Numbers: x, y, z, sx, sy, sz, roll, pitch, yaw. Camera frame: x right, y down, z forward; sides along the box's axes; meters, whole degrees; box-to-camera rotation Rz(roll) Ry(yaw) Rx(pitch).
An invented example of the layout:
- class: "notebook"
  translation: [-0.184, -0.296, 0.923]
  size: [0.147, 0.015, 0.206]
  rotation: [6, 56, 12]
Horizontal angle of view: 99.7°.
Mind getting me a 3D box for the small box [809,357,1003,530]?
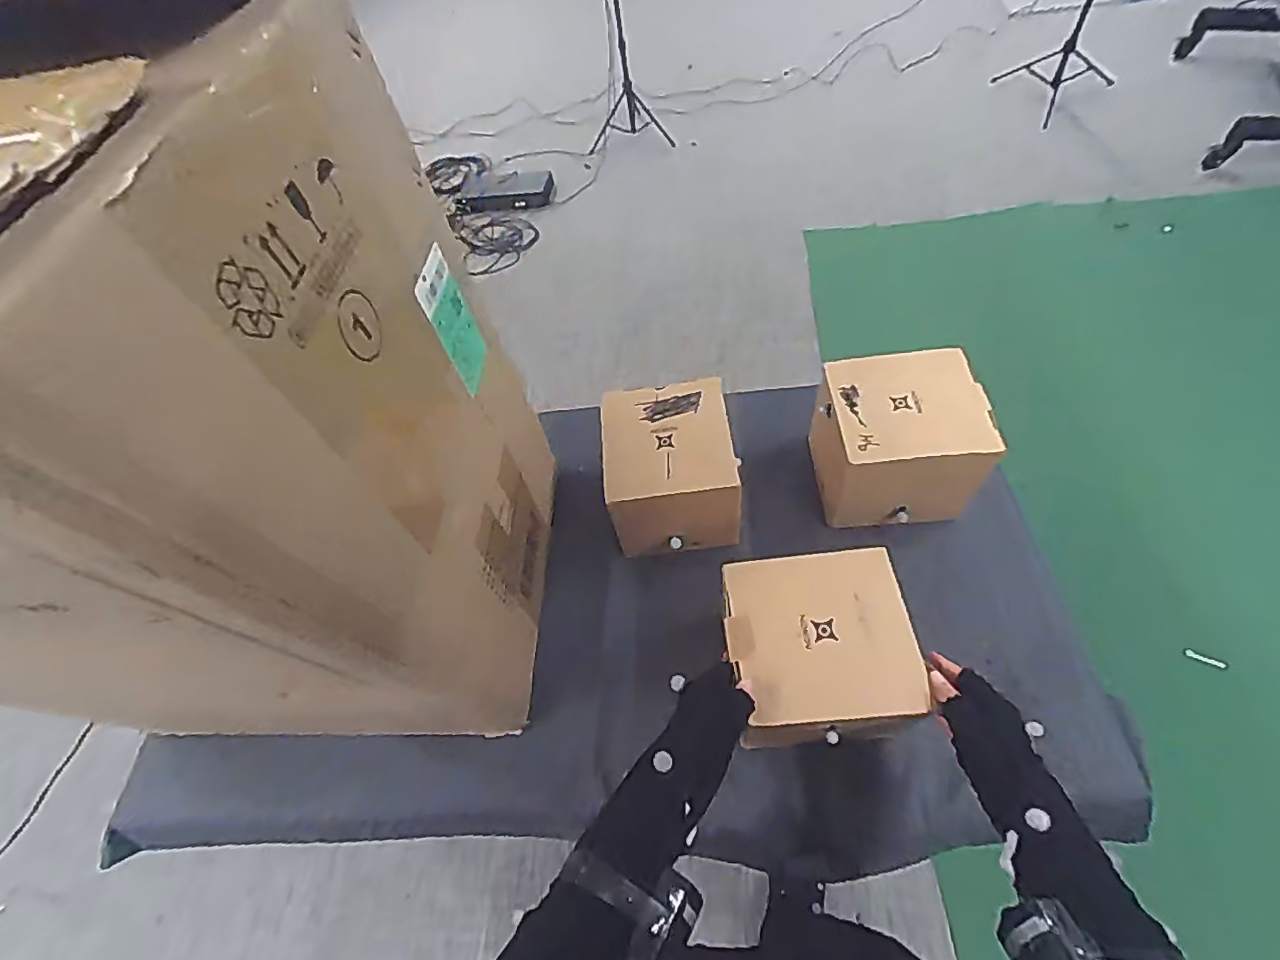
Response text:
- class: "small box"
  translation: [0.343, -0.044, 0.739]
  size: [0.179, 0.176, 0.168]
  rotation: [-4, 56, 6]
